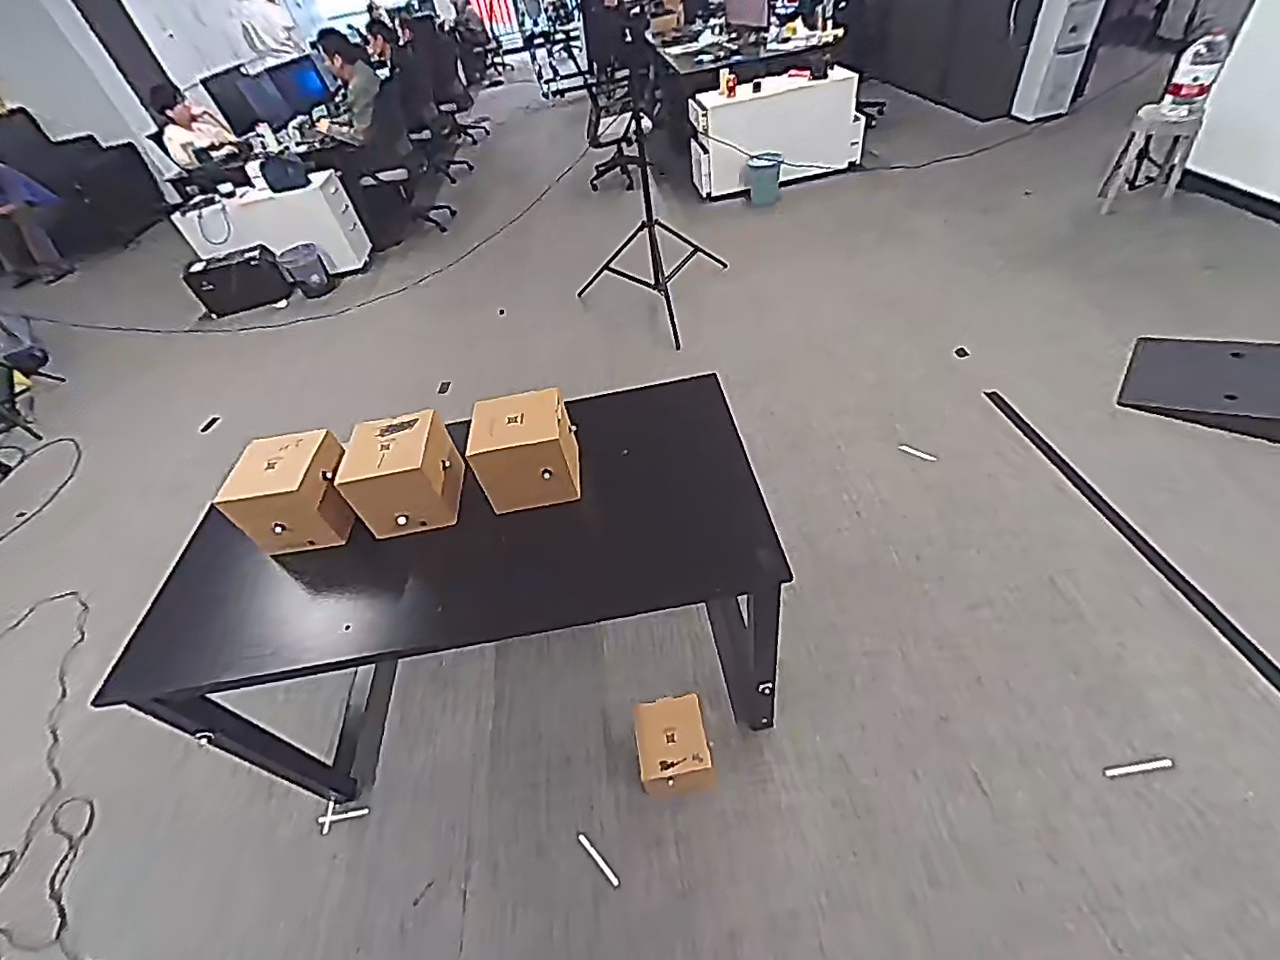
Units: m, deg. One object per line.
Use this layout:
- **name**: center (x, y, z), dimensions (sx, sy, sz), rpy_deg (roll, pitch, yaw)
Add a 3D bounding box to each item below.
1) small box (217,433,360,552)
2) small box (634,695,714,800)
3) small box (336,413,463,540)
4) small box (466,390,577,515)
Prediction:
- **small box**: center (-0.692, 0.033, 1.103), dimensions (0.168, 0.176, 0.179), rpy_deg (-8, 45, 3)
- **small box**: center (0.085, 0.667, 1.348), dimensions (0.168, 0.176, 0.179), rpy_deg (-12, 45, 1)
- **small box**: center (-0.471, -0.006, 1.093), dimensions (0.168, 0.176, 0.179), rpy_deg (-12, 46, 0)
- **small box**: center (-0.227, -0.053, 1.091), dimensions (0.179, 0.176, 0.168), rpy_deg (-12, 44, 2)
